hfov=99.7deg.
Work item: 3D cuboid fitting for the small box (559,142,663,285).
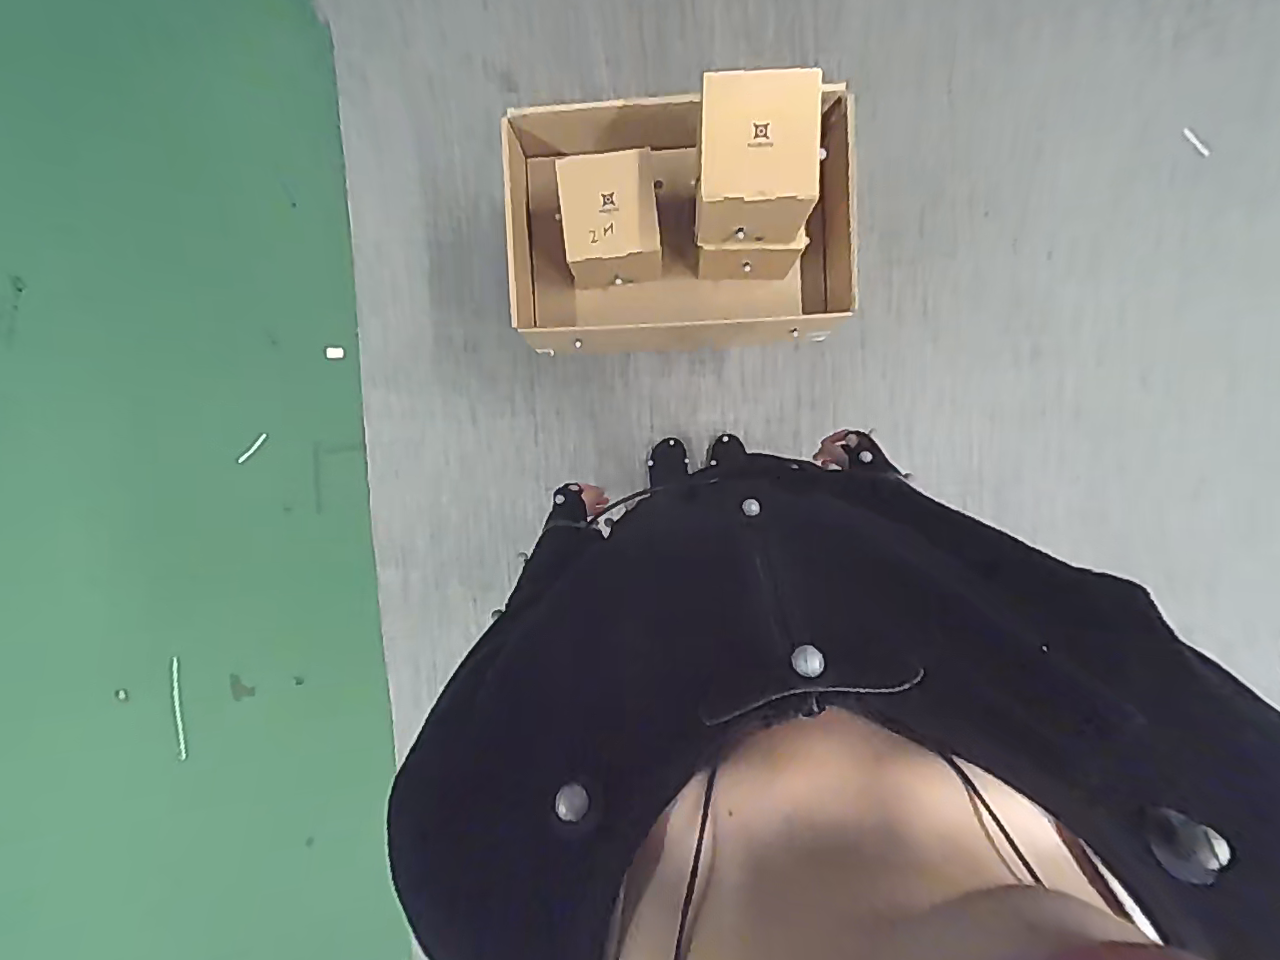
[{"bbox_3d":[-0.049,-0.480,0.997,0.168,0.176,0.179,-6,93,3],"label":"small box"}]

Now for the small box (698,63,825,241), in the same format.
[{"bbox_3d":[0.175,-0.487,0.824,0.168,0.176,0.179,1,93,4],"label":"small box"}]
